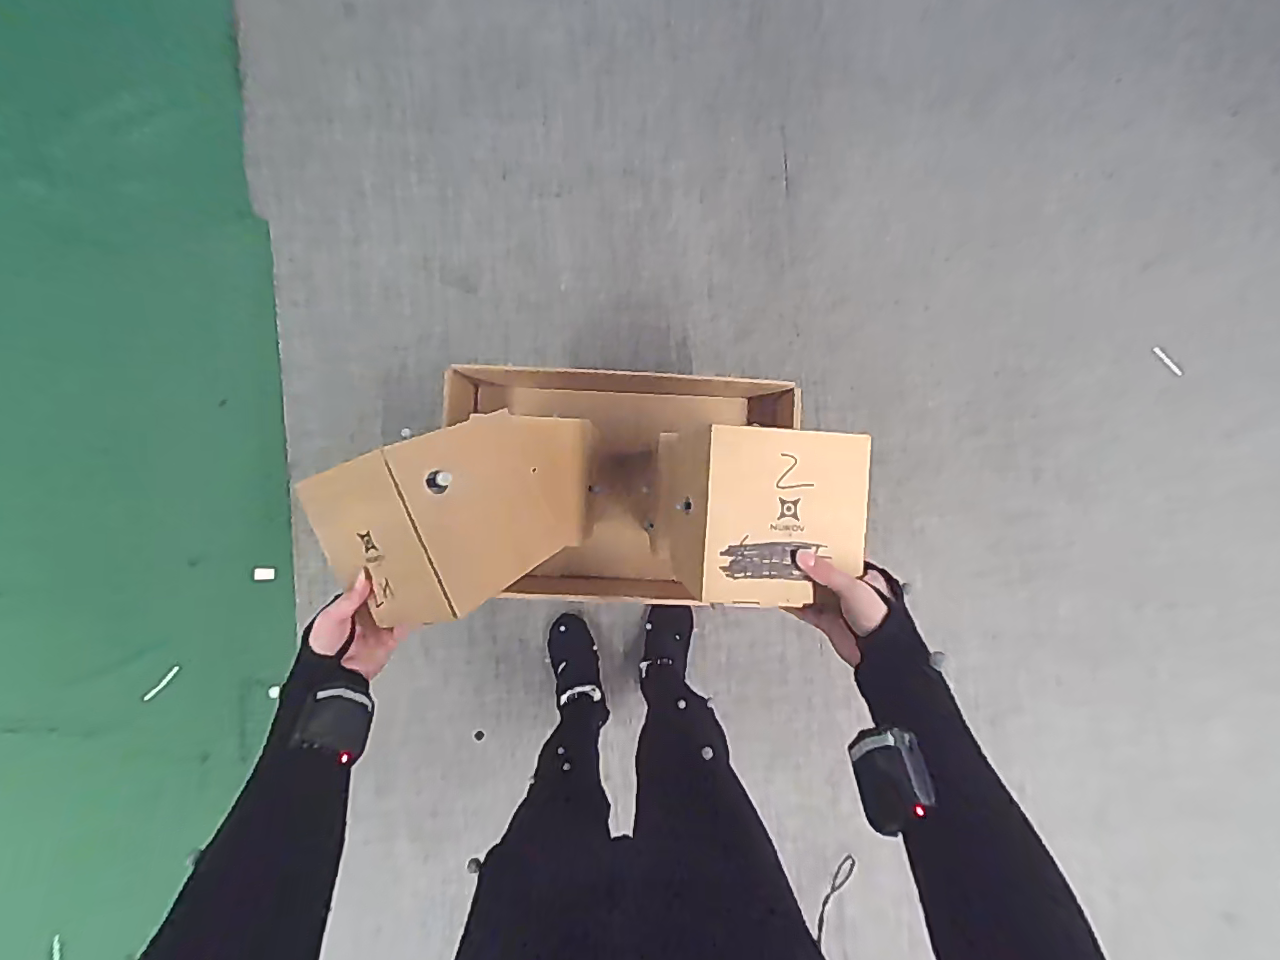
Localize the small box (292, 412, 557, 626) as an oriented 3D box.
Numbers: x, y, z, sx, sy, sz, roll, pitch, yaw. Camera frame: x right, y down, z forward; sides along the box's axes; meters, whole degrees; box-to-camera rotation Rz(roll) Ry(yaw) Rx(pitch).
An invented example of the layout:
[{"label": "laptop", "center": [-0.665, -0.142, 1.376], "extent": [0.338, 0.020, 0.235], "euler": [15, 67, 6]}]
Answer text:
[{"label": "small box", "center": [-0.221, 0.035, 0.584], "extent": [0.168, 0.176, 0.179], "euler": [-13, 103, 34]}]

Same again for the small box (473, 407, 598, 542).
[{"label": "small box", "center": [-0.150, -0.006, 0.804], "extent": [0.168, 0.176, 0.179], "euler": [3, 90, -1]}]

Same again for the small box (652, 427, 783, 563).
[{"label": "small box", "center": [0.105, 0.020, 0.805], "extent": [0.168, 0.176, 0.179], "euler": [3, 89, -1]}]
